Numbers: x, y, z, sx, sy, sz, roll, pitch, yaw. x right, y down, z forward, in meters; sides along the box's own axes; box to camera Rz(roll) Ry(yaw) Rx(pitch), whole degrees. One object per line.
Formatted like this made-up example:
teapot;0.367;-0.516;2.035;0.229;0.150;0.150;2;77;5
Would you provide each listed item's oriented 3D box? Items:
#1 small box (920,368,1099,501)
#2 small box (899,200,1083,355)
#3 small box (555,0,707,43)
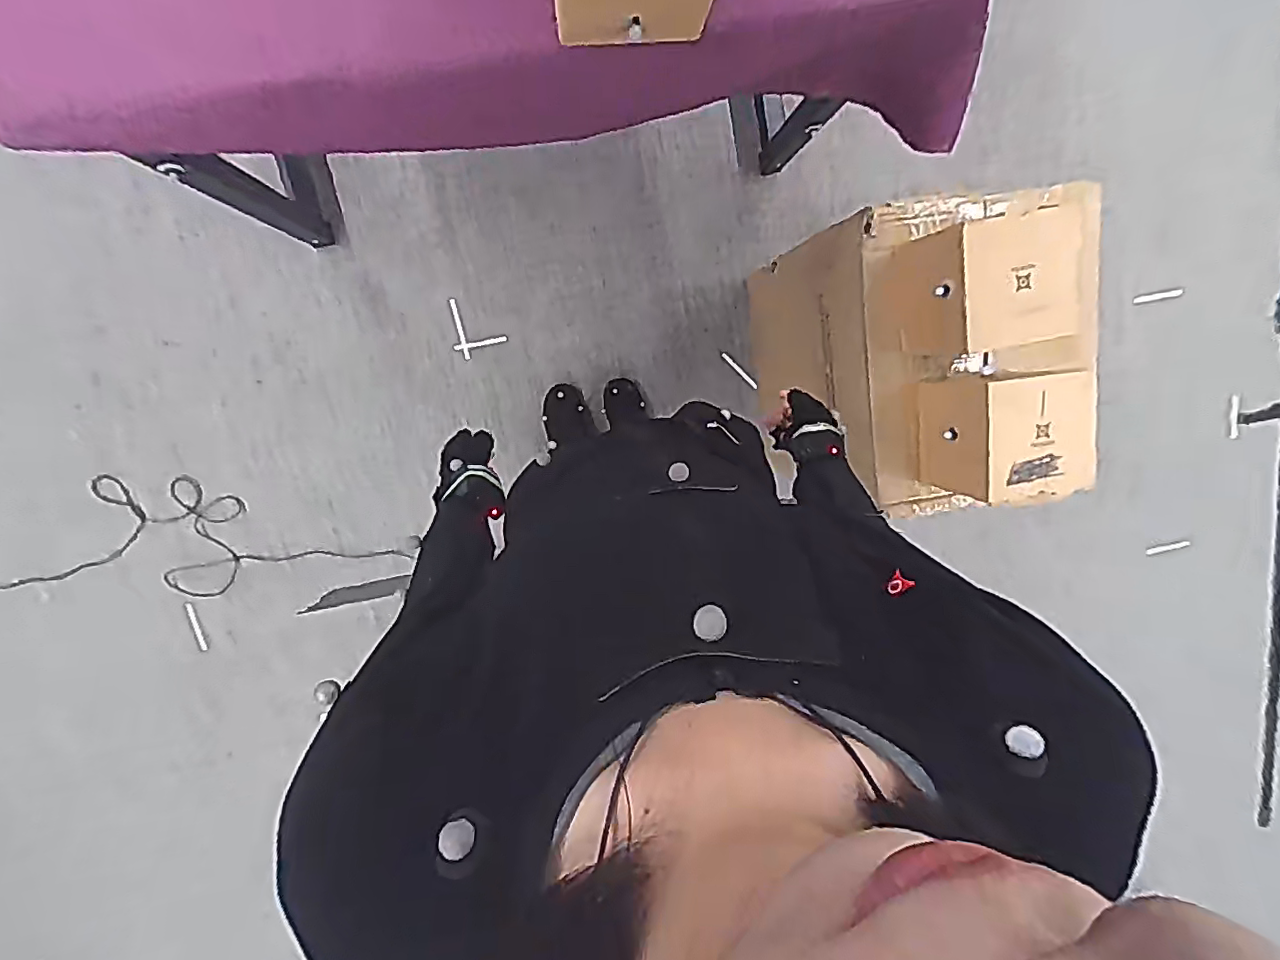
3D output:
small box;0.563;-0.076;0.844;0.168;0.176;0.179;-7;99;-4
small box;0.506;-0.288;0.801;0.168;0.176;0.179;-11;103;-2
small box;-0.009;-0.609;0.578;0.179;0.176;0.168;-7;100;-6
